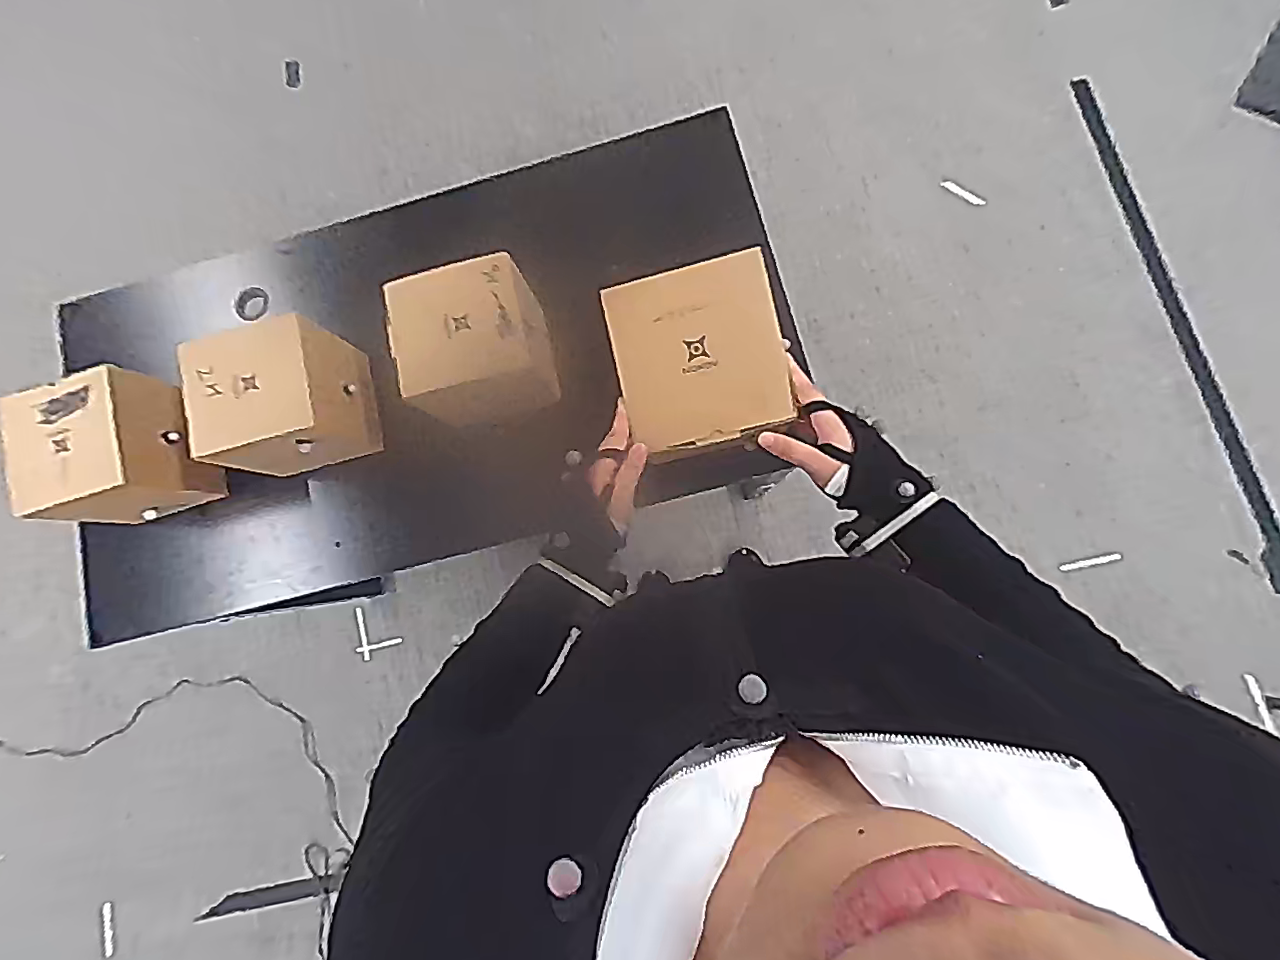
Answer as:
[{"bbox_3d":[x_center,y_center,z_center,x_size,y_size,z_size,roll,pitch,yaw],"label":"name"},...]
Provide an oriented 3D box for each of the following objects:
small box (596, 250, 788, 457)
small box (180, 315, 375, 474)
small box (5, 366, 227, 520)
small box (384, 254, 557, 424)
[{"bbox_3d":[0.061,-0.126,0.620,0.168,0.176,0.179,-13,87,7],"label":"small box"},{"bbox_3d":[-0.519,-0.116,0.802,0.179,0.176,0.168,-15,81,3],"label":"small box"},{"bbox_3d":[-0.776,-0.045,0.817,0.168,0.176,0.179,-17,82,3],"label":"small box"},{"bbox_3d":[-0.237,-0.192,0.788,0.179,0.176,0.168,-13,82,4],"label":"small box"}]
